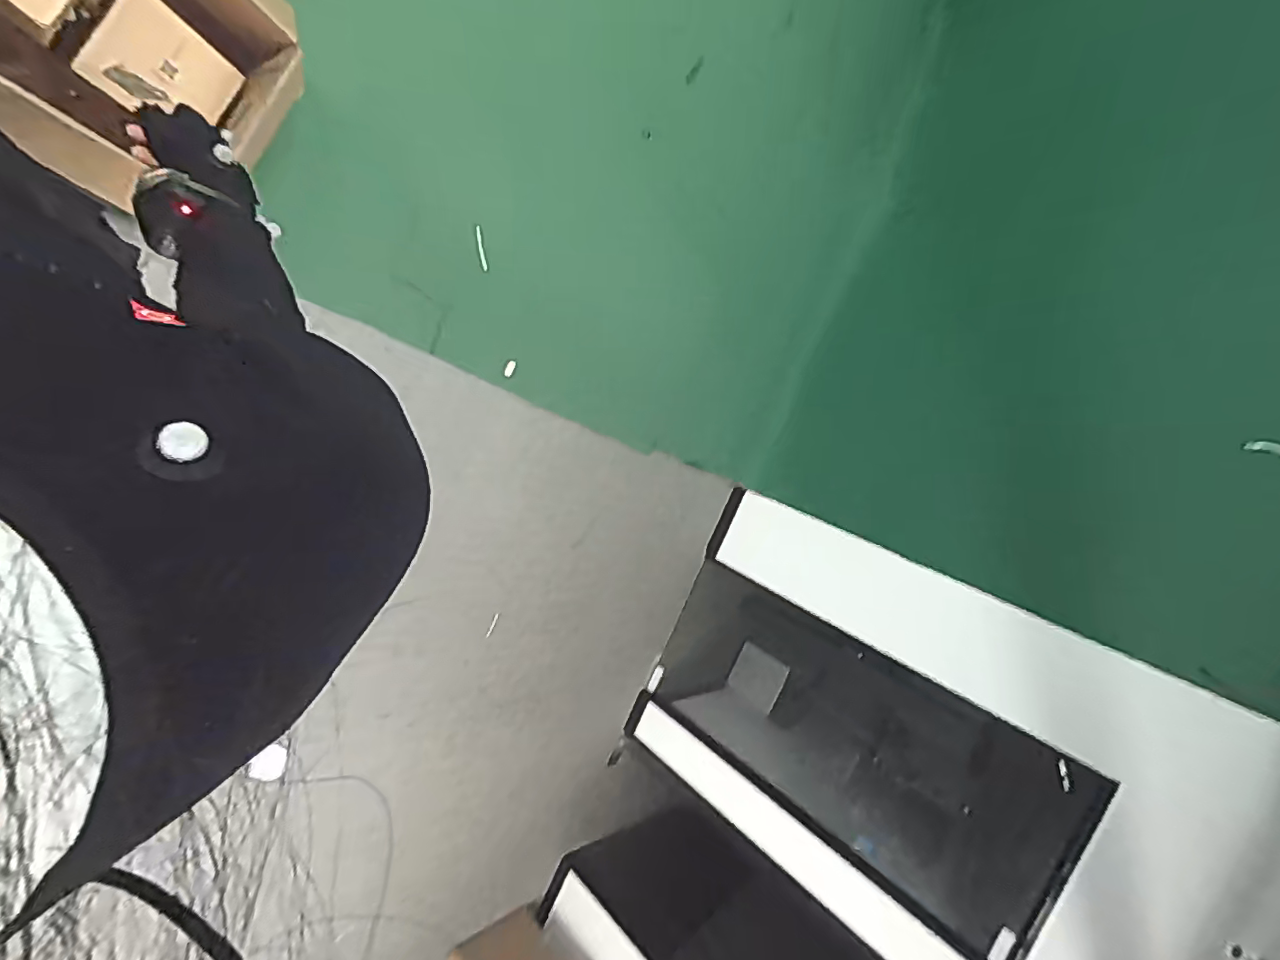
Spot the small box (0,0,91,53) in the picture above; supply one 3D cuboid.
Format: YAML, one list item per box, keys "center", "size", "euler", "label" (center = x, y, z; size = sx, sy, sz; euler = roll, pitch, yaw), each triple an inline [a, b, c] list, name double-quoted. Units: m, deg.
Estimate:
- center: [-0.804, -0.687, 0.677]
  size: [0.168, 0.176, 0.179]
  euler: [36, 82, -51]
  label: "small box"
